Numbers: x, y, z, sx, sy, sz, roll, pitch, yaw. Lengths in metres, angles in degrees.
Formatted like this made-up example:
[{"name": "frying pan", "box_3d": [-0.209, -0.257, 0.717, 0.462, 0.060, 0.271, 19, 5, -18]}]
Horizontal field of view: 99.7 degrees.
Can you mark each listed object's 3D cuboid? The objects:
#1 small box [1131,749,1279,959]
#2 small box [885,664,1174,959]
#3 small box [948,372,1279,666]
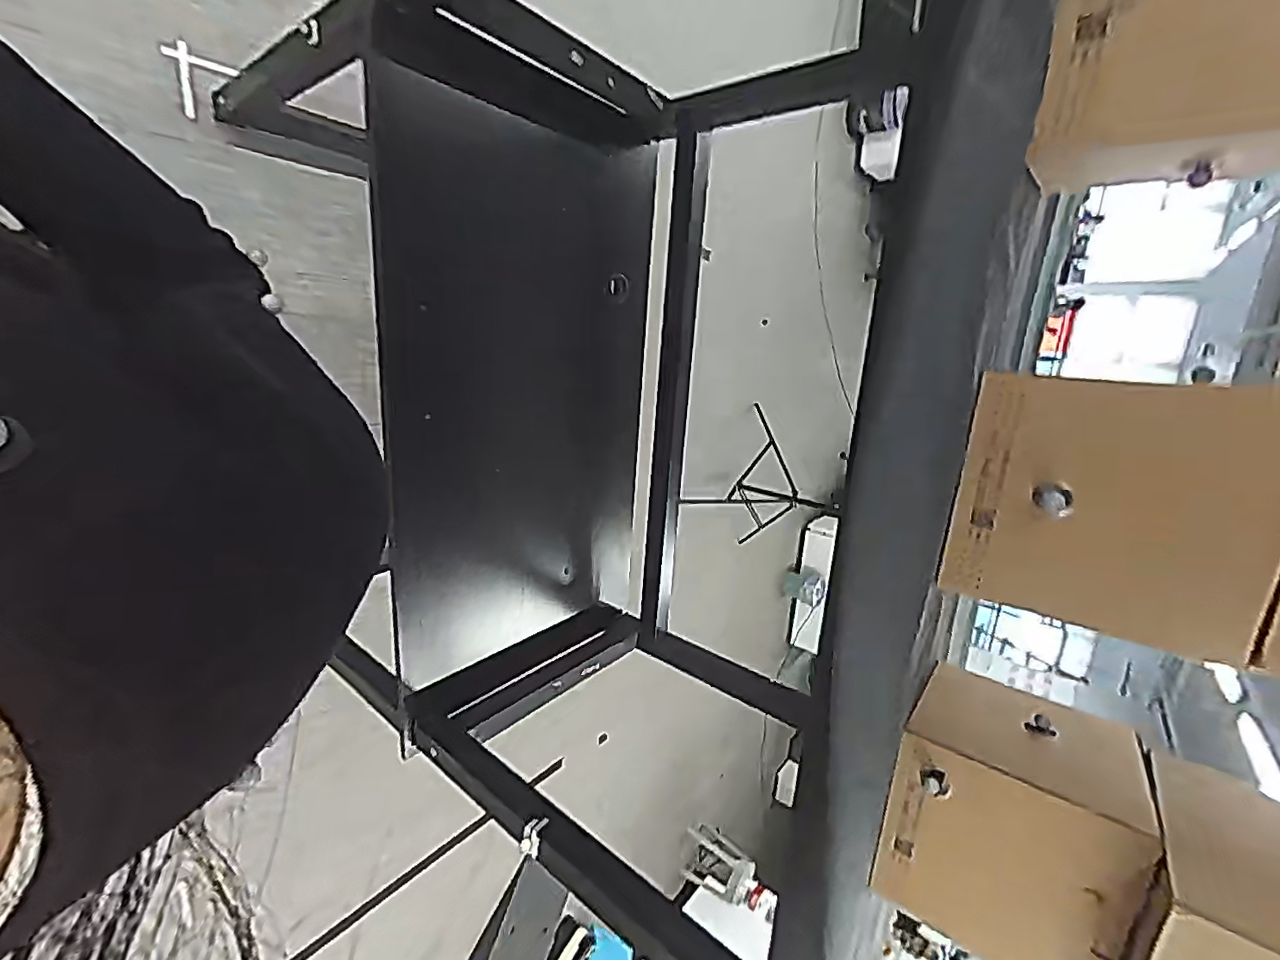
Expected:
[{"name": "small box", "box_3d": [0.444, 0.332, 0.371, 0.179, 0.176, 0.168, -17, 116, -50]}, {"name": "small box", "box_3d": [0.337, 0.296, 0.491, 0.179, 0.176, 0.168, -8, 107, -53]}, {"name": "small box", "box_3d": [0.356, 0.007, 0.417, 0.179, 0.176, 0.168, -12, 111, -52]}]
